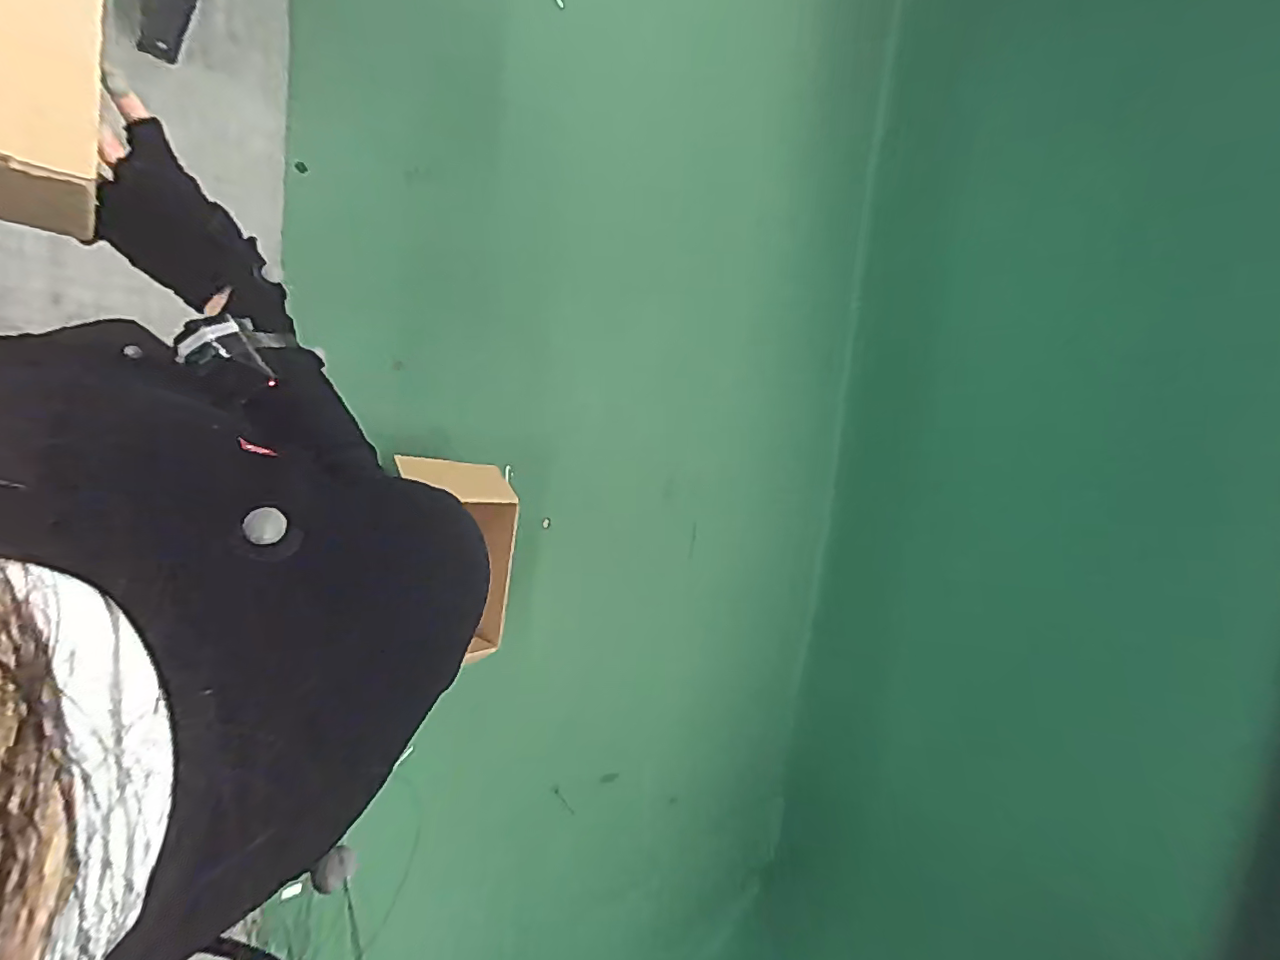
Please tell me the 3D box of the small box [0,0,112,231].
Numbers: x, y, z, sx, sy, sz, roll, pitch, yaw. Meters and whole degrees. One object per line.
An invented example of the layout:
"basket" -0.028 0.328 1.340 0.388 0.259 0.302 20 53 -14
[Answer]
"small box" -0.406 -0.259 0.294 0.168 0.176 0.179 1 96 -47
